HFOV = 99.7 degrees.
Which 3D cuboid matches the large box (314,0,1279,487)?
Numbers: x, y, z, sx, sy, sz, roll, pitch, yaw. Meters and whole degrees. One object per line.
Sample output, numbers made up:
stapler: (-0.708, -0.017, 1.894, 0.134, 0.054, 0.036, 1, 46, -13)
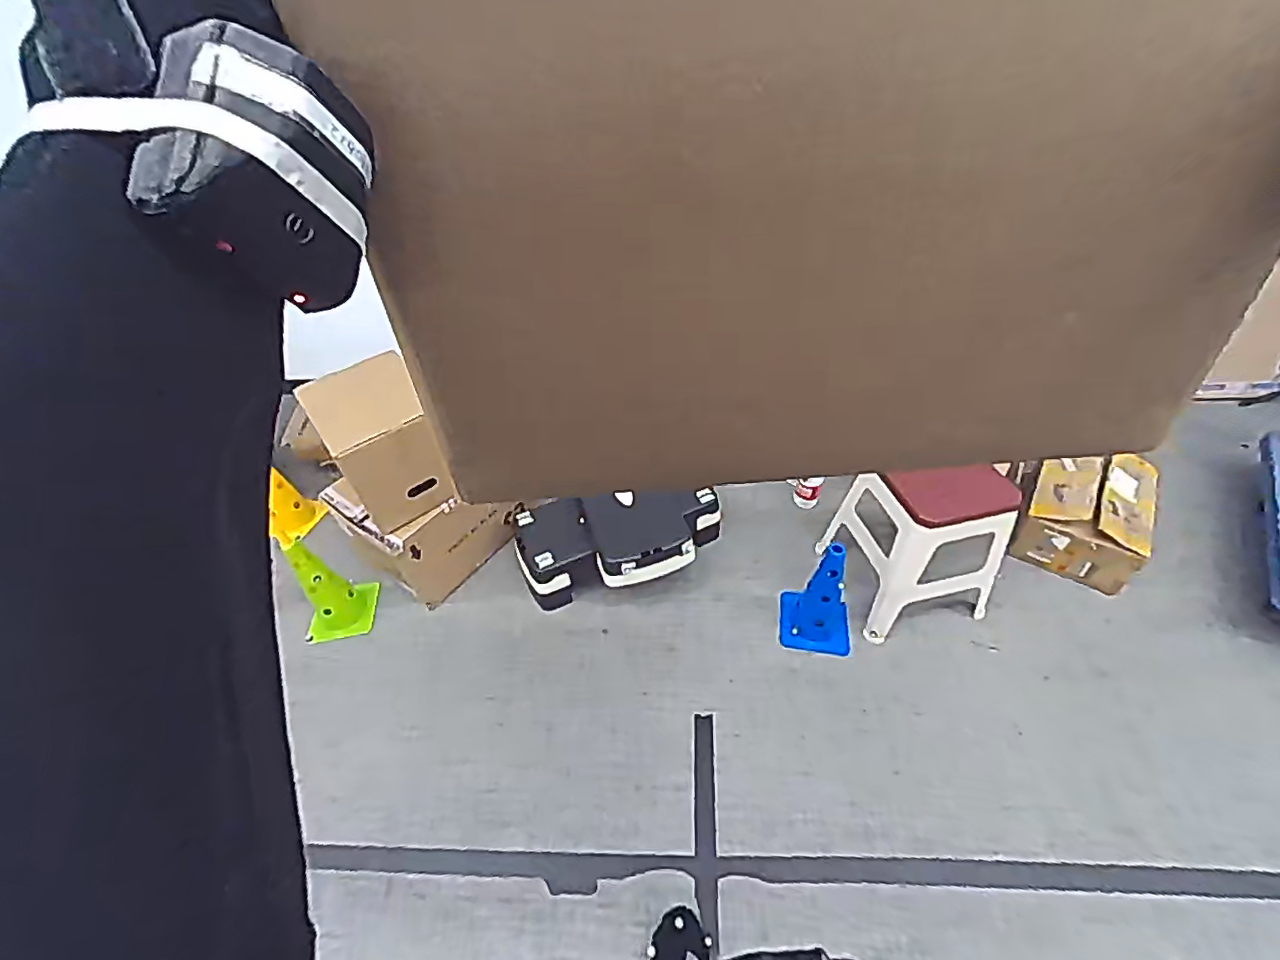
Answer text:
large box: (0.074, -0.218, 0.353, 0.408, 0.320, 0.320, -4, 38, 0)
